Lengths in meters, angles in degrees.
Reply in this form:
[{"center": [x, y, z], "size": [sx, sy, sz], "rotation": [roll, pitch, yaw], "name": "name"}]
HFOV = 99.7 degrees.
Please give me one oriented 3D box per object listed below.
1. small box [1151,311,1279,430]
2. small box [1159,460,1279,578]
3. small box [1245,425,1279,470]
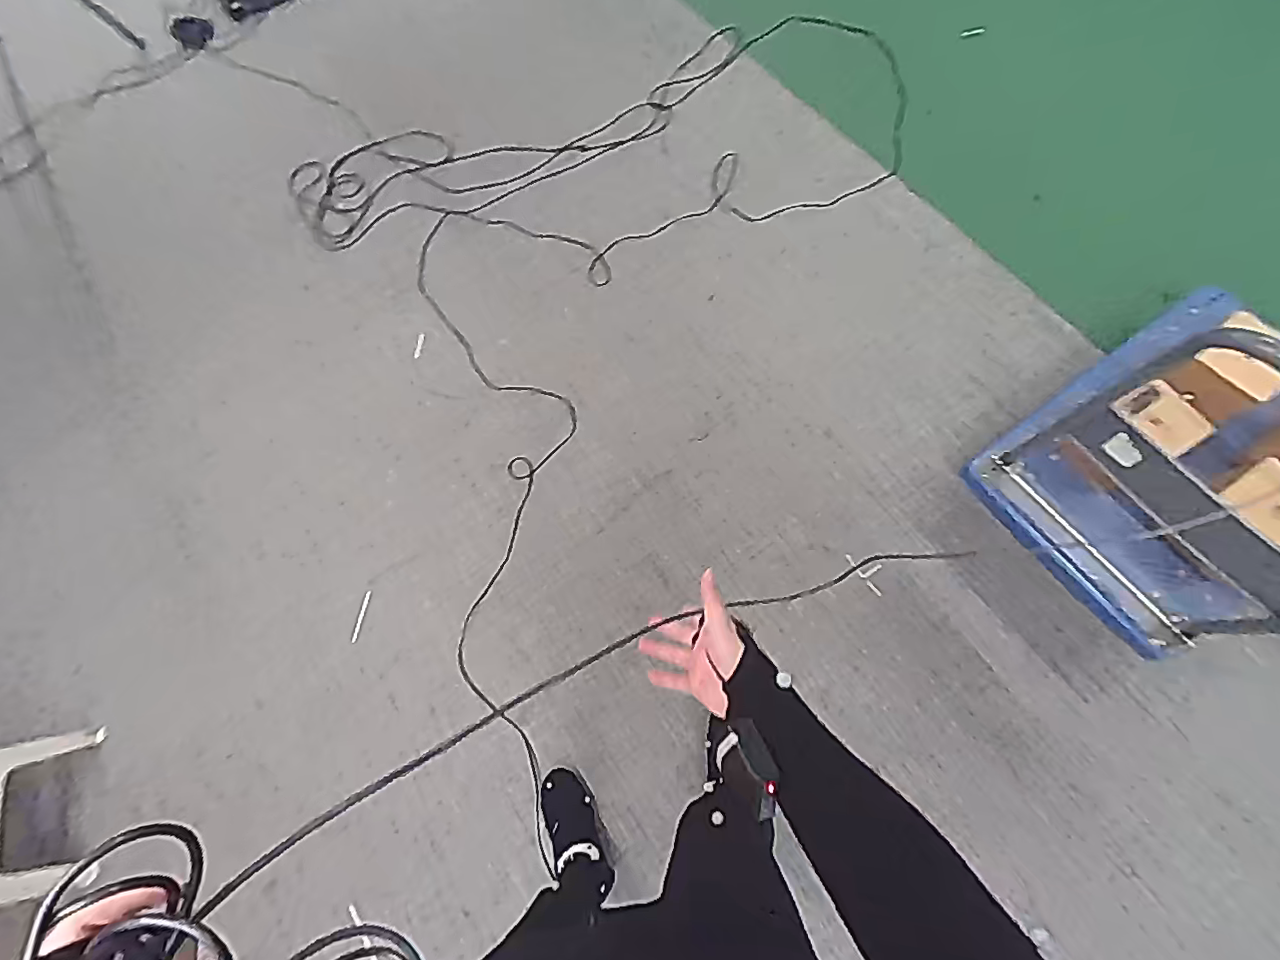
[{"center": [1.357, -0.244, 1.253], "size": [0.179, 0.176, 0.168], "rotation": [-38, 73, -6], "name": "small box"}, {"center": [1.290, 0.090, 1.153], "size": [0.179, 0.176, 0.168], "rotation": [-34, 72, -4], "name": "small box"}, {"center": [1.512, -0.062, 1.176], "size": [0.179, 0.176, 0.168], "rotation": [-38, 71, -5], "name": "small box"}]
